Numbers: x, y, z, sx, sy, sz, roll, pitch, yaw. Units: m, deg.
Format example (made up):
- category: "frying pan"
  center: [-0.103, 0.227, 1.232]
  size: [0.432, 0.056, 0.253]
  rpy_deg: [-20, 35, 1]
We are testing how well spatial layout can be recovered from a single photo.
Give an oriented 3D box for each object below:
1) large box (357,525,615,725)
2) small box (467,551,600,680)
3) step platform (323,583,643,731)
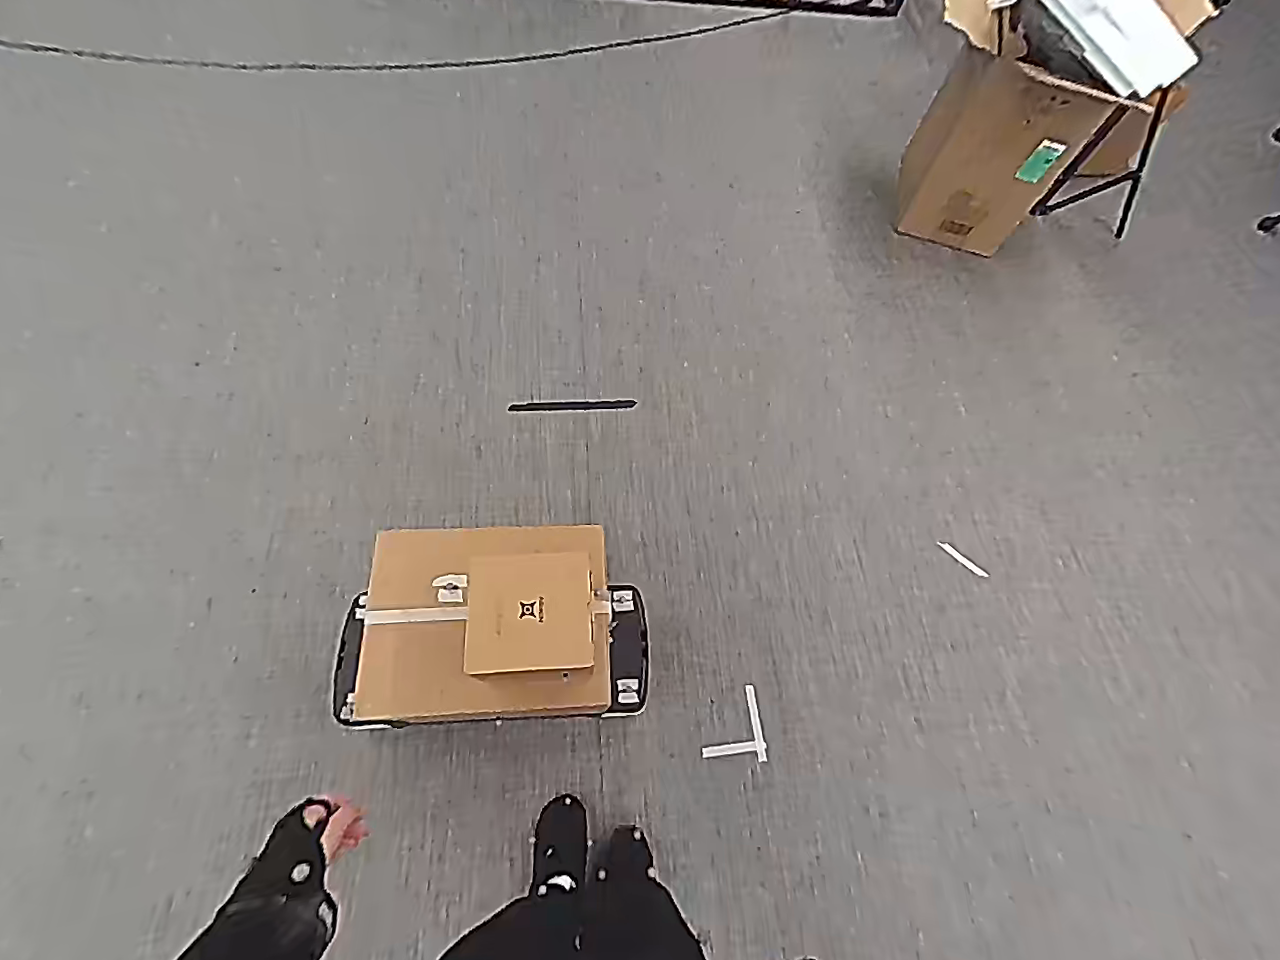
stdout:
- category: "large box"
  center: [-0.260, 0.291, 1.045]
  size: [0.408, 0.320, 0.320]
  rpy_deg: [-2, 64, -5]
- category: "small box"
  center: [-0.152, 0.210, 0.822]
  size: [0.179, 0.176, 0.168]
  rpy_deg: [-1, 66, -5]
- category: "step platform"
  center: [-0.333, 0.410, 1.246]
  size: [0.684, 0.204, 0.286]
  rpy_deg: [4, 64, -3]
